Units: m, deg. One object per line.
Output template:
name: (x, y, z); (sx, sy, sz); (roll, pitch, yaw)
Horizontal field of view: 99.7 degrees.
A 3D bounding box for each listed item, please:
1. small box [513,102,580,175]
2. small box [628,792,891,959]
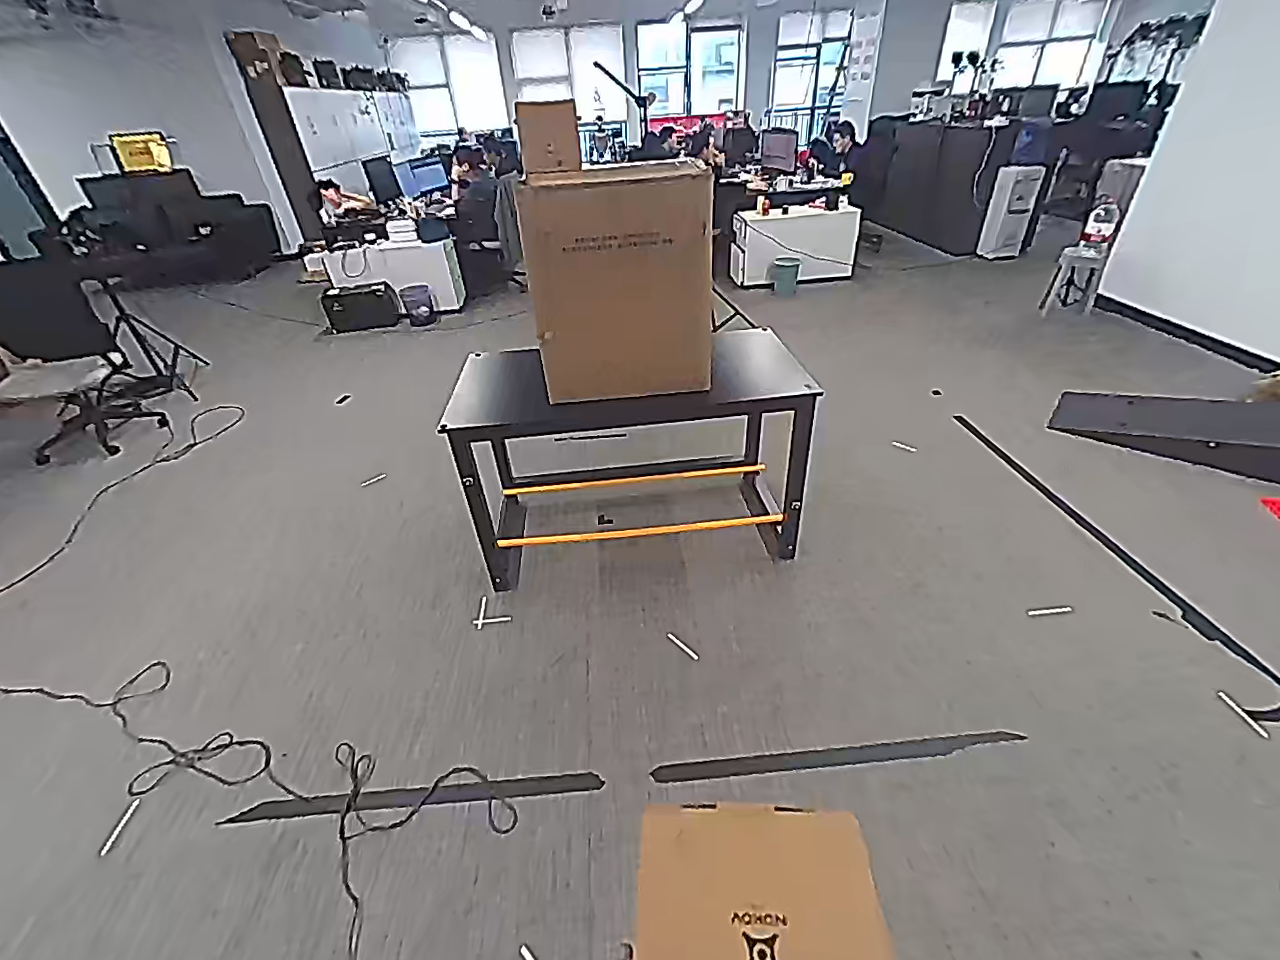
small box: (-0.265, -0.983, 1.562); (0.168, 0.176, 0.179); (-7, 33, -4)
small box: (0.077, 0.360, 0.389); (0.168, 0.176, 0.179); (-1, 32, 5)
